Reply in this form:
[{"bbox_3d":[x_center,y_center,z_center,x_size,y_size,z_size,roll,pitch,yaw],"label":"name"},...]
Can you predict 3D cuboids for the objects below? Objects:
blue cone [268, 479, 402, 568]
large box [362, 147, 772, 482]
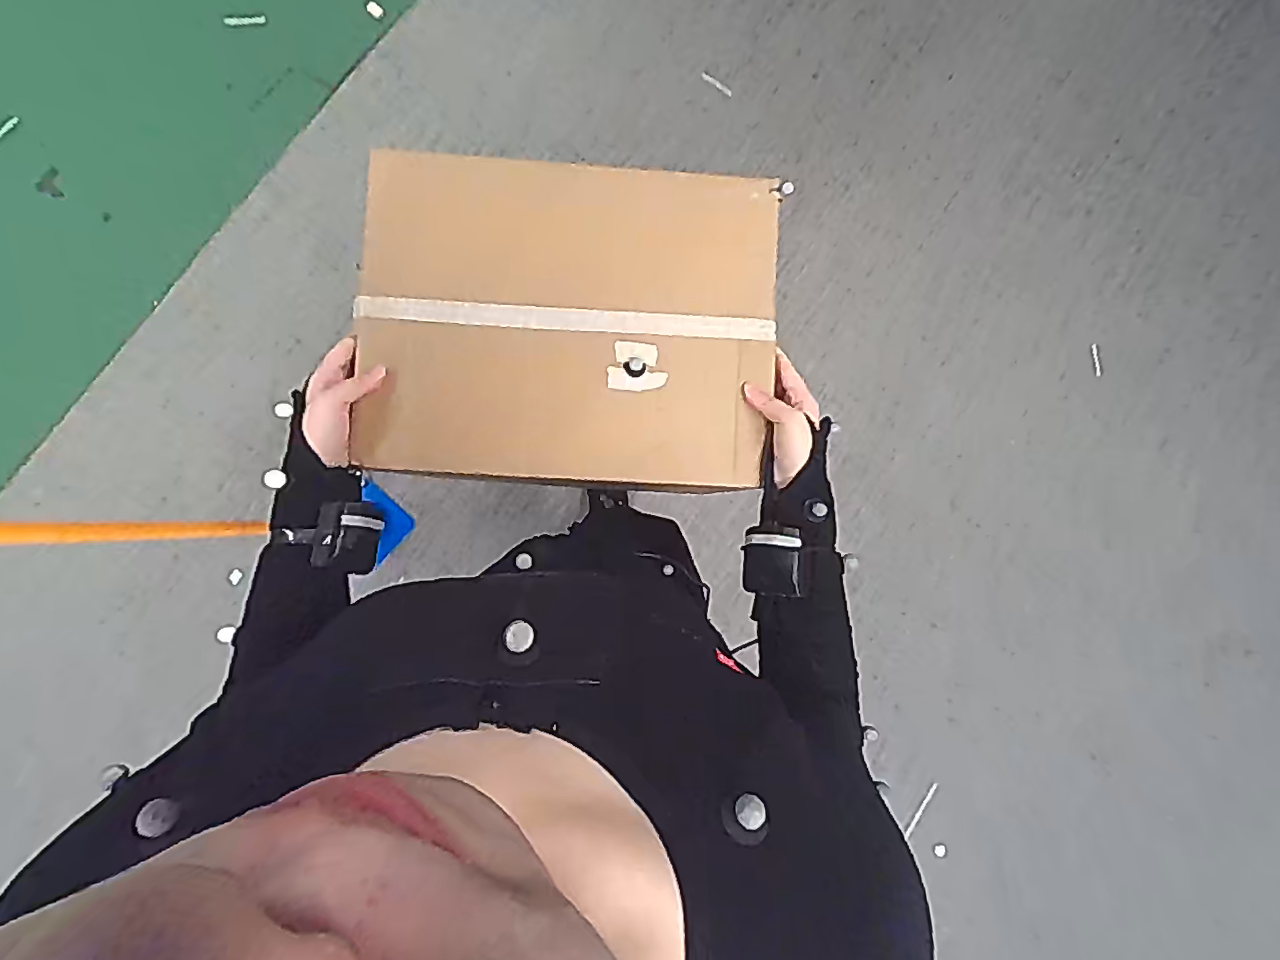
[{"bbox_3d":[-0.750,0.102,1.294,0.192,0.380,0.193,43,84,2],"label":"blue cone"},{"bbox_3d":[-0.078,-0.162,0.685,0.408,0.320,0.320,3,88,-4],"label":"large box"}]
